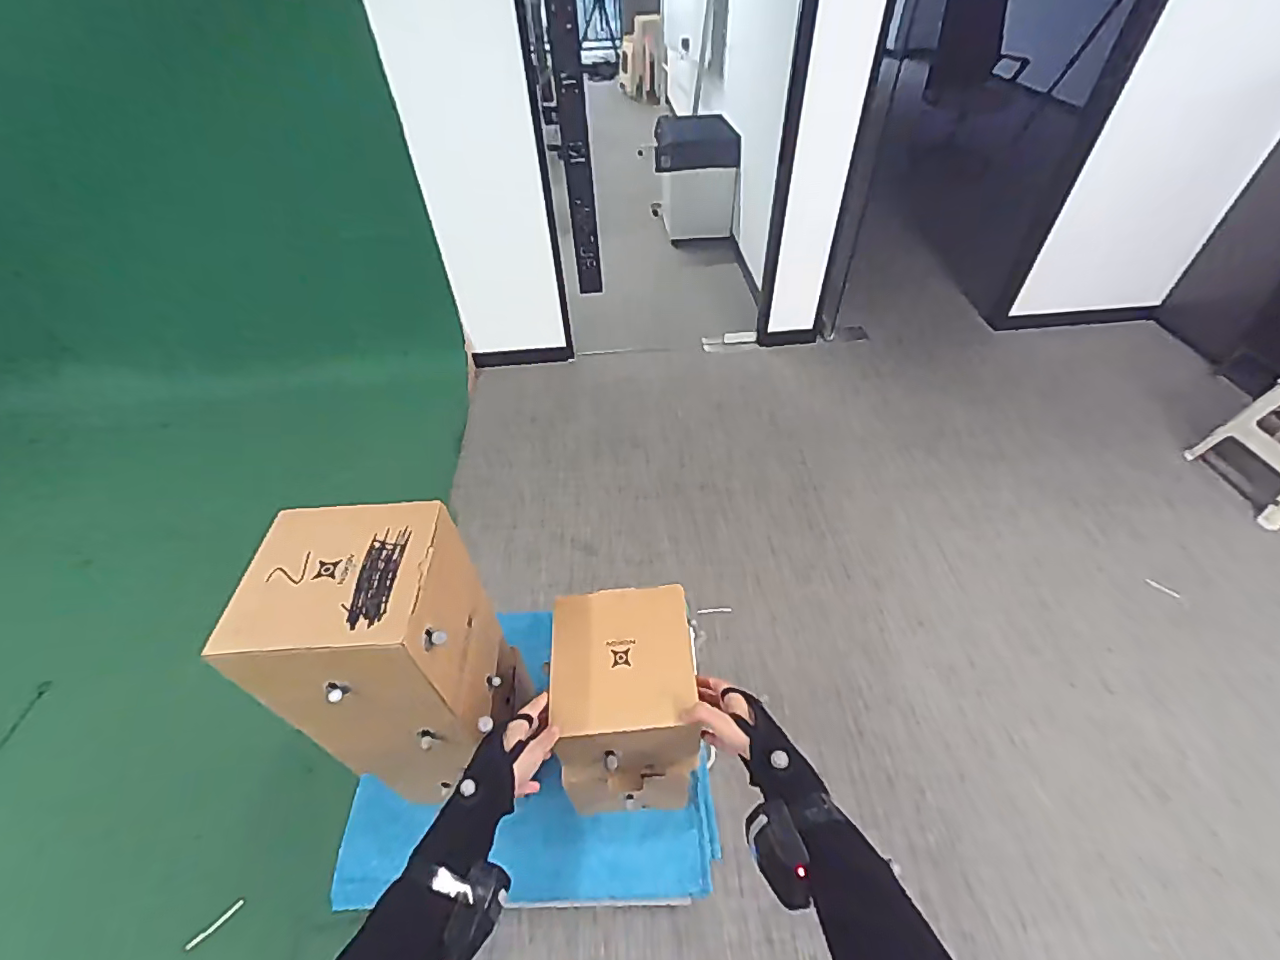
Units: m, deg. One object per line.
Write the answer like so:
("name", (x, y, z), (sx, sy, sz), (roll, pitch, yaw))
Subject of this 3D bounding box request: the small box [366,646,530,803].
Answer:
("small box", (-0.266, 0.364, 0.802), (0.179, 0.176, 0.168), (-3, 45, -1))

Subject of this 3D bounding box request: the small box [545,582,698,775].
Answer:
("small box", (-0.020, 0.252, 0.675), (0.168, 0.176, 0.179), (-5, 46, -2))

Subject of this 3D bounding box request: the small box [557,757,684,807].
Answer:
("small box", (-0.023, 0.365, 0.792), (0.168, 0.176, 0.179), (-3, 46, -1))

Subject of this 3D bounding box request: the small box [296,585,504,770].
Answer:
("small box", (-0.279, 0.250, 0.683), (0.179, 0.176, 0.168), (-3, 45, -1))
